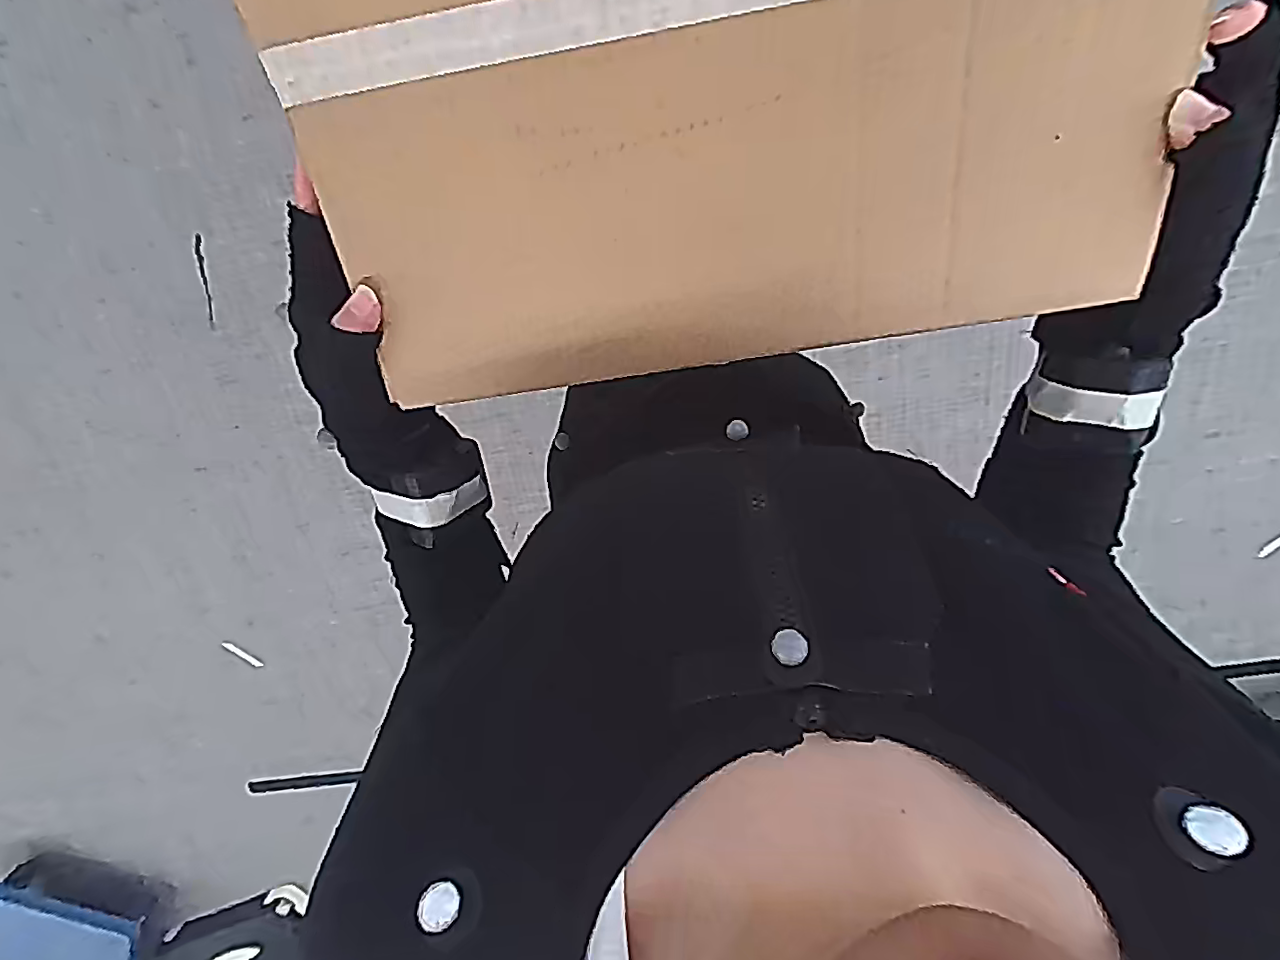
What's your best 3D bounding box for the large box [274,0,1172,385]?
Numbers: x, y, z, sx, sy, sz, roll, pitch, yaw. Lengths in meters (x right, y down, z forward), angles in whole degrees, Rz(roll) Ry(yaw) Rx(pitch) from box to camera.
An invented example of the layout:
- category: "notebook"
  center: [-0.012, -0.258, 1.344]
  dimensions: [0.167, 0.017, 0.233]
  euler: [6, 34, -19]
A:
- category: "large box"
  center: [0.034, -0.284, 0.374]
  dimensions: [0.408, 0.320, 0.320]
  euler: [-8, 117, 4]
